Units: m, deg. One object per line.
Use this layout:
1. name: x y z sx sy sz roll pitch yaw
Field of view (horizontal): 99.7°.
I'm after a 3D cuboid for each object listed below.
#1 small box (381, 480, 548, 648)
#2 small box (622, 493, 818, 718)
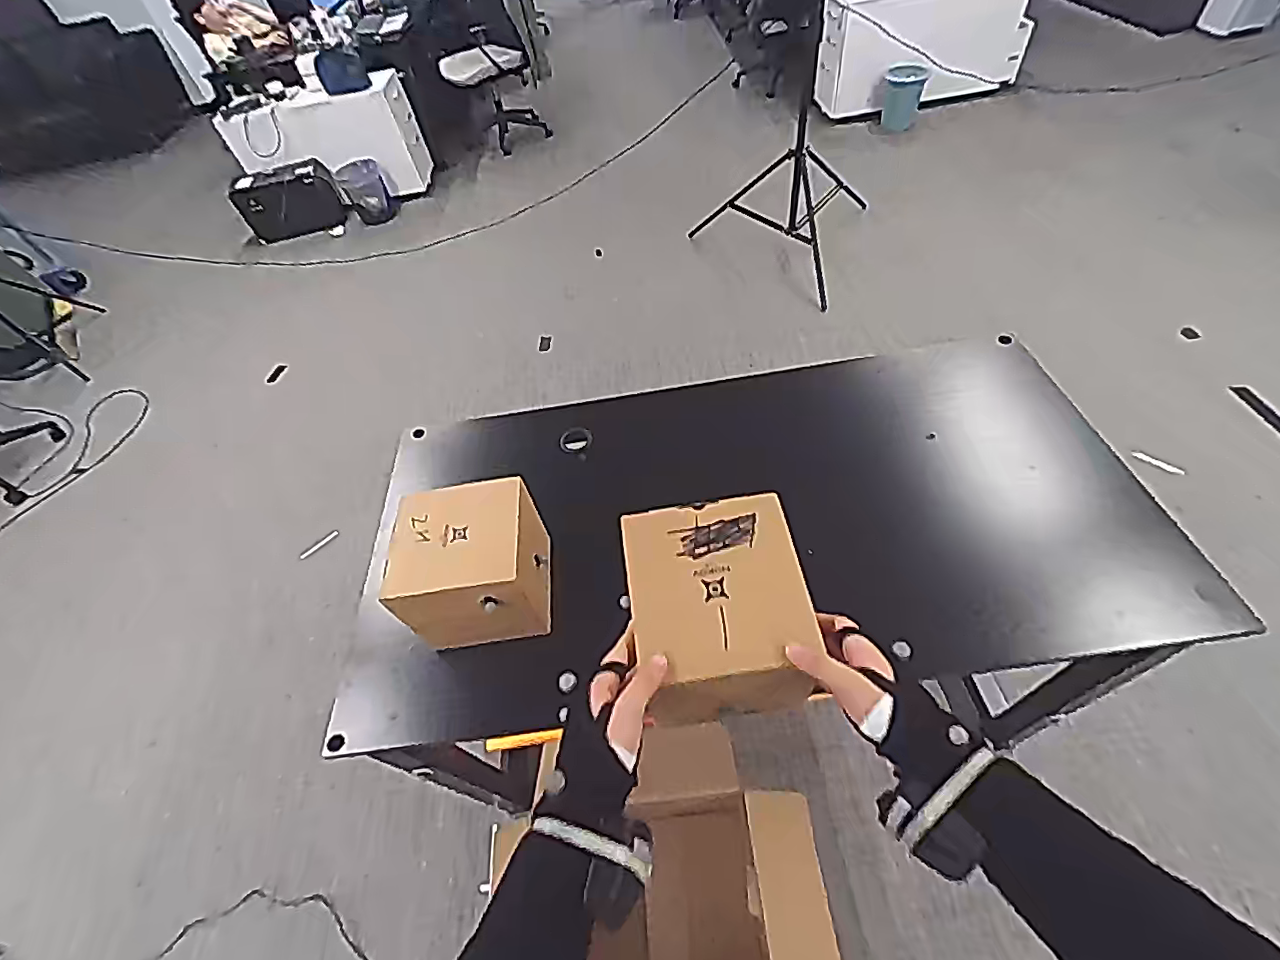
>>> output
1. small box: -0.233 0.124 0.774 0.179 0.176 0.168 -9 51 2
2. small box: 0.076 0.140 0.591 0.168 0.176 0.179 -9 54 1
